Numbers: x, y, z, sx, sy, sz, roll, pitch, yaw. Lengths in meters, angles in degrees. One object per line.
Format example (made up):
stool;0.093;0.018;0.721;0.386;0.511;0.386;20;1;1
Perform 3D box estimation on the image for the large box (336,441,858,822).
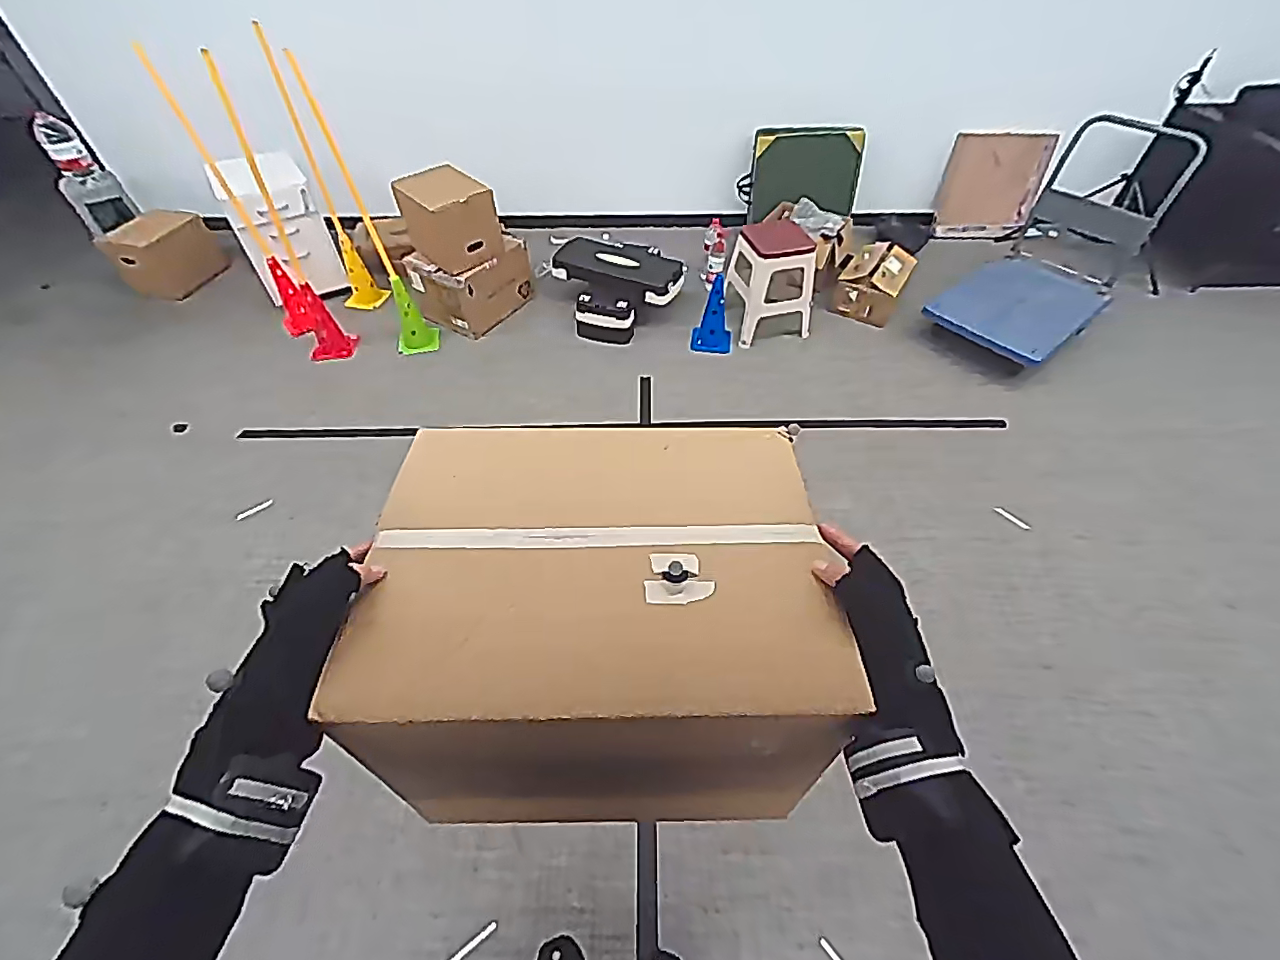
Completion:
large box;-0.037;0.169;0.613;0.408;0.320;0.320;0;46;-1
